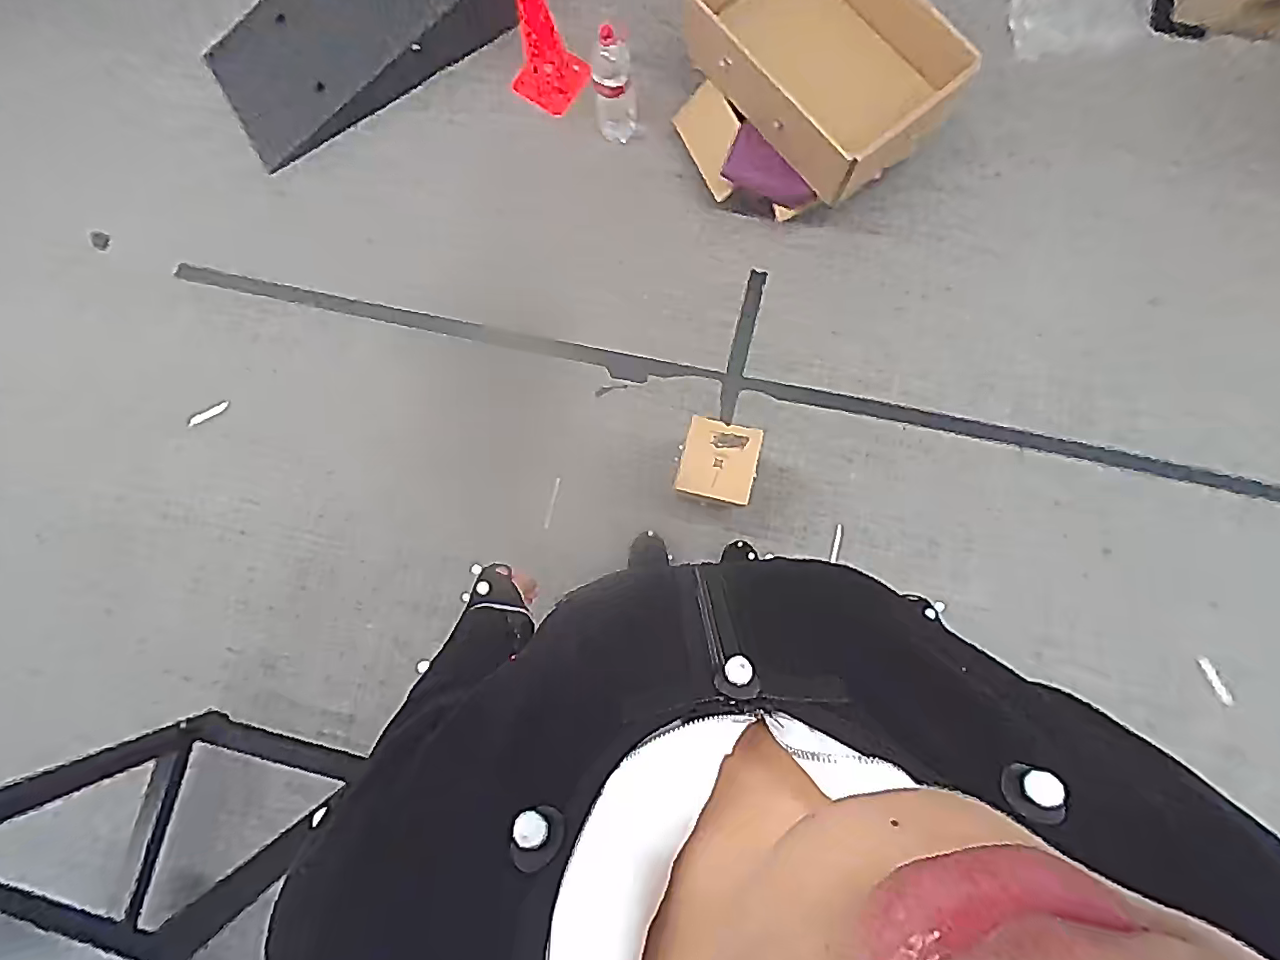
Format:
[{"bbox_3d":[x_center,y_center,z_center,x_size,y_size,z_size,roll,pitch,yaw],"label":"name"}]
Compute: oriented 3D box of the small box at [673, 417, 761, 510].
[{"bbox_3d":[0.175,-0.033,1.287,0.168,0.176,0.179,14,86,4],"label":"small box"}]
